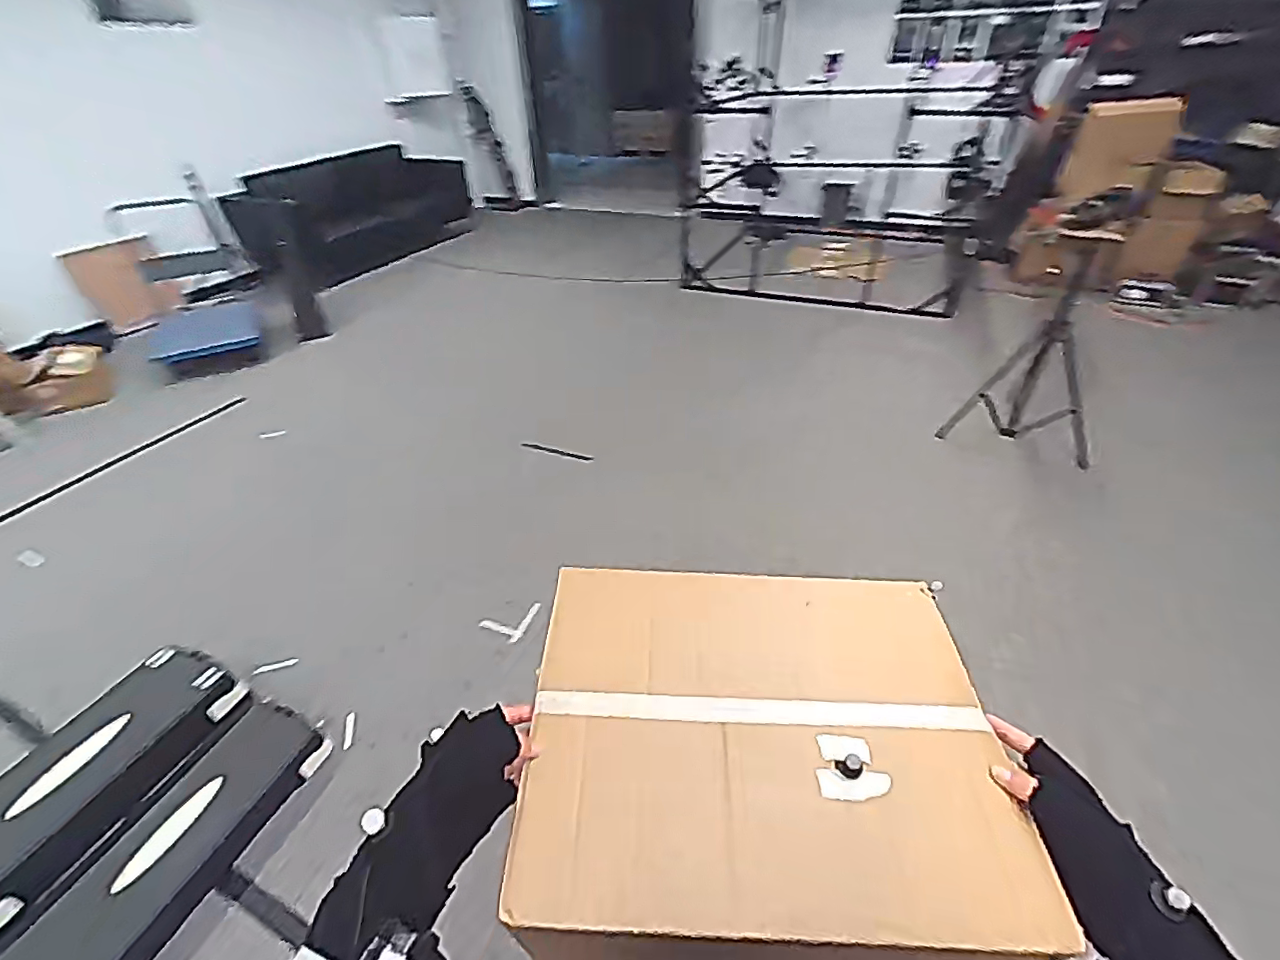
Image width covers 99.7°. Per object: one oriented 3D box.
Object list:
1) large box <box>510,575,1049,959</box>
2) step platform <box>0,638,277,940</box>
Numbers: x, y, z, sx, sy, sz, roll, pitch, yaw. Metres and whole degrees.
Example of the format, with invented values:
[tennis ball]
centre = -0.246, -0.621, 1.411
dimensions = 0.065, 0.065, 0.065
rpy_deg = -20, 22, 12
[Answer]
[large box]
centre = 0.098, 0.324, 0.598
dimensions = 0.408, 0.320, 0.320
rpy_deg = 2, 42, 0
[step platform]
centre = -1.365, 0.752, 1.430
dimensions = 0.286, 0.204, 0.684
rpy_deg = 12, 39, 18
